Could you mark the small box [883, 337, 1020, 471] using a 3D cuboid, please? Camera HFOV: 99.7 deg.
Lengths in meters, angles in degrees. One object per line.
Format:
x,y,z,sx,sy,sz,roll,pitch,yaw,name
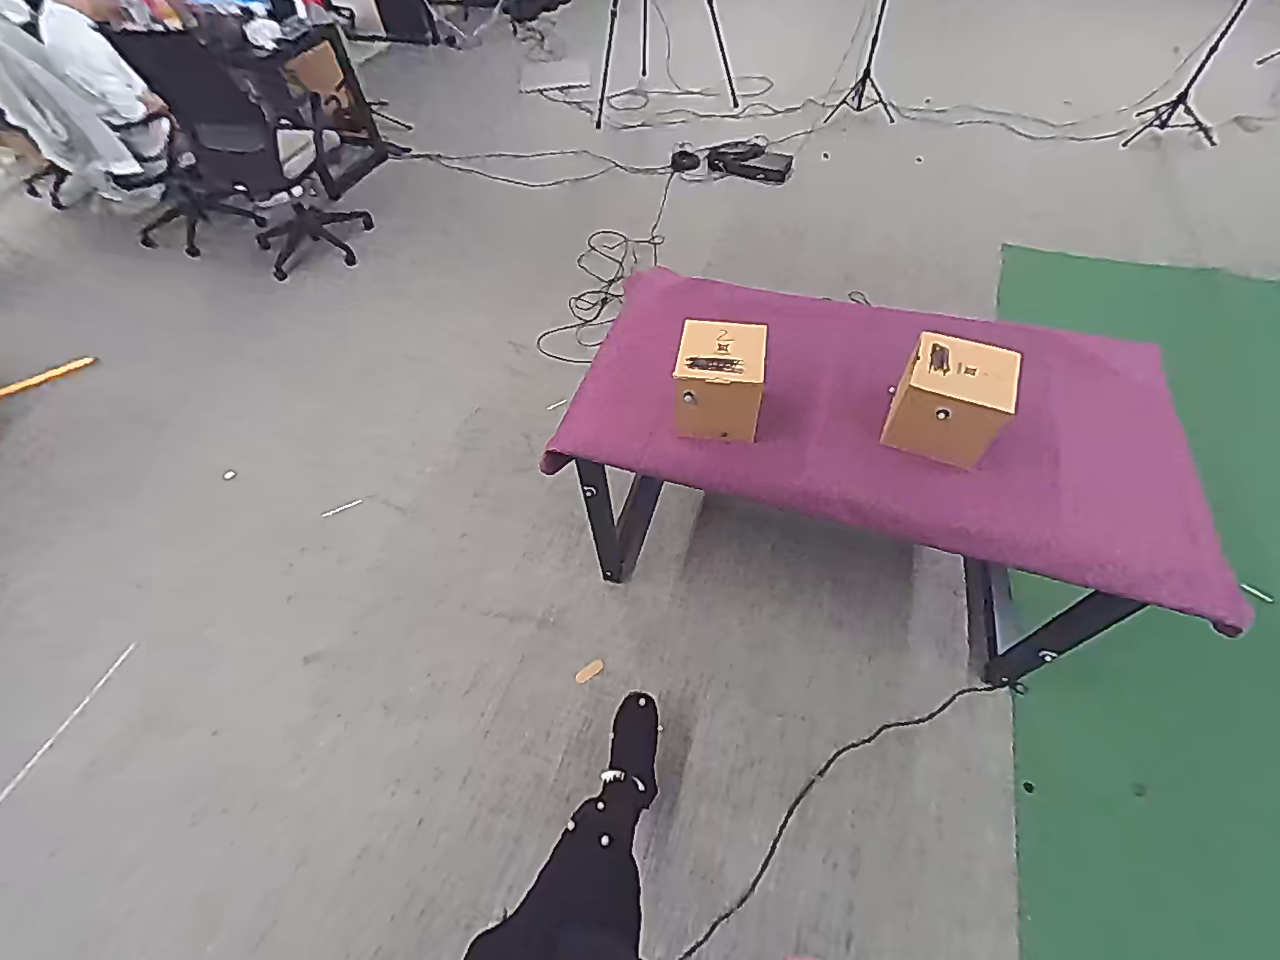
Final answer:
0.593,-0.143,1.045,0.179,0.176,0.168,20,58,17,small box
